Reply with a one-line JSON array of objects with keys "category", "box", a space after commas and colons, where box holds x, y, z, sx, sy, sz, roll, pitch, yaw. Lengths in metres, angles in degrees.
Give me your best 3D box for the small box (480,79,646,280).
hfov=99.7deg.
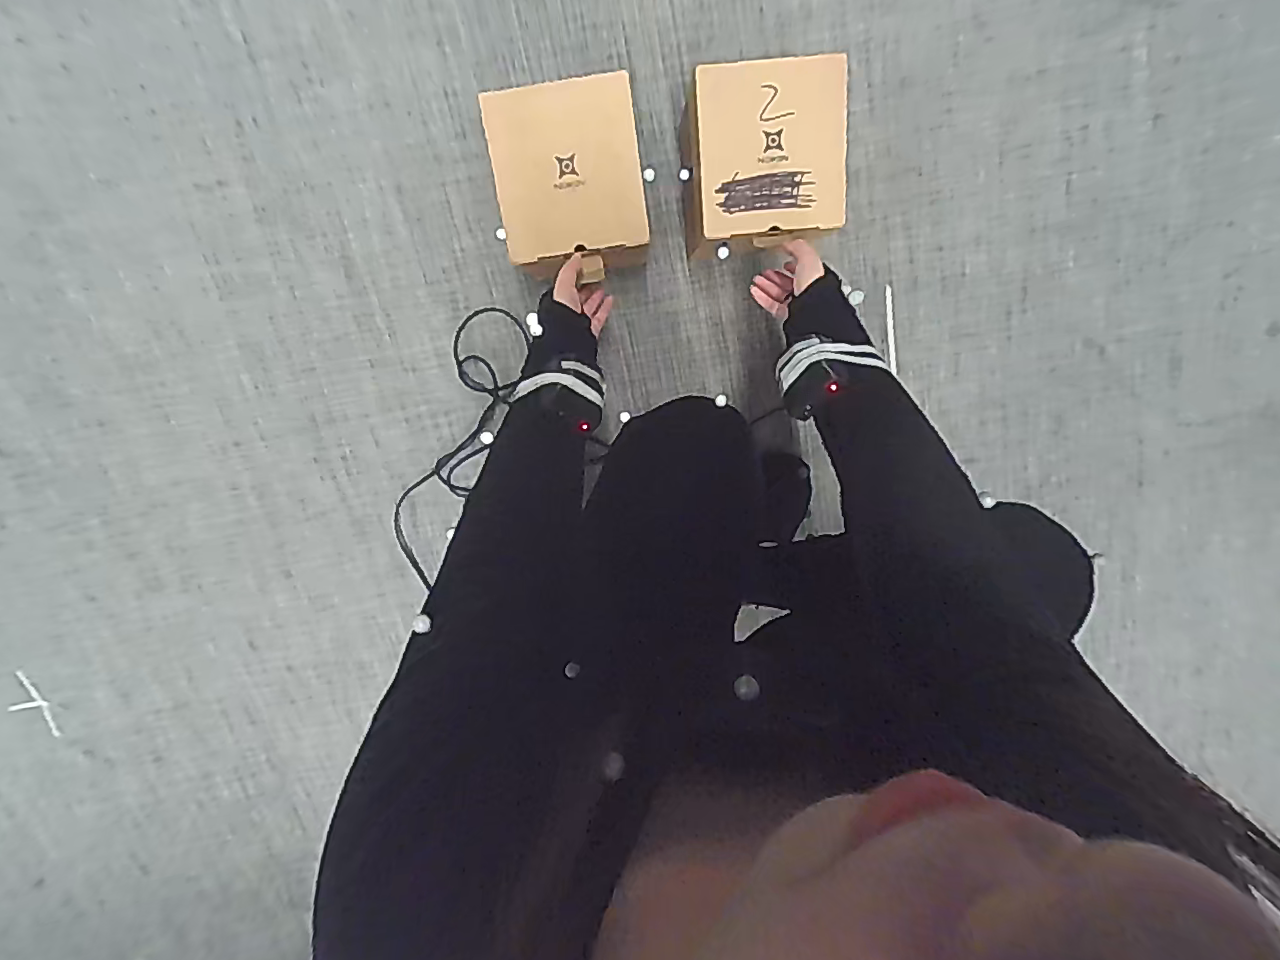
[{"category": "small box", "box": [-0.087, -0.363, 0.685, 0.168, 0.176, 0.179, -8, 106, 1]}]
